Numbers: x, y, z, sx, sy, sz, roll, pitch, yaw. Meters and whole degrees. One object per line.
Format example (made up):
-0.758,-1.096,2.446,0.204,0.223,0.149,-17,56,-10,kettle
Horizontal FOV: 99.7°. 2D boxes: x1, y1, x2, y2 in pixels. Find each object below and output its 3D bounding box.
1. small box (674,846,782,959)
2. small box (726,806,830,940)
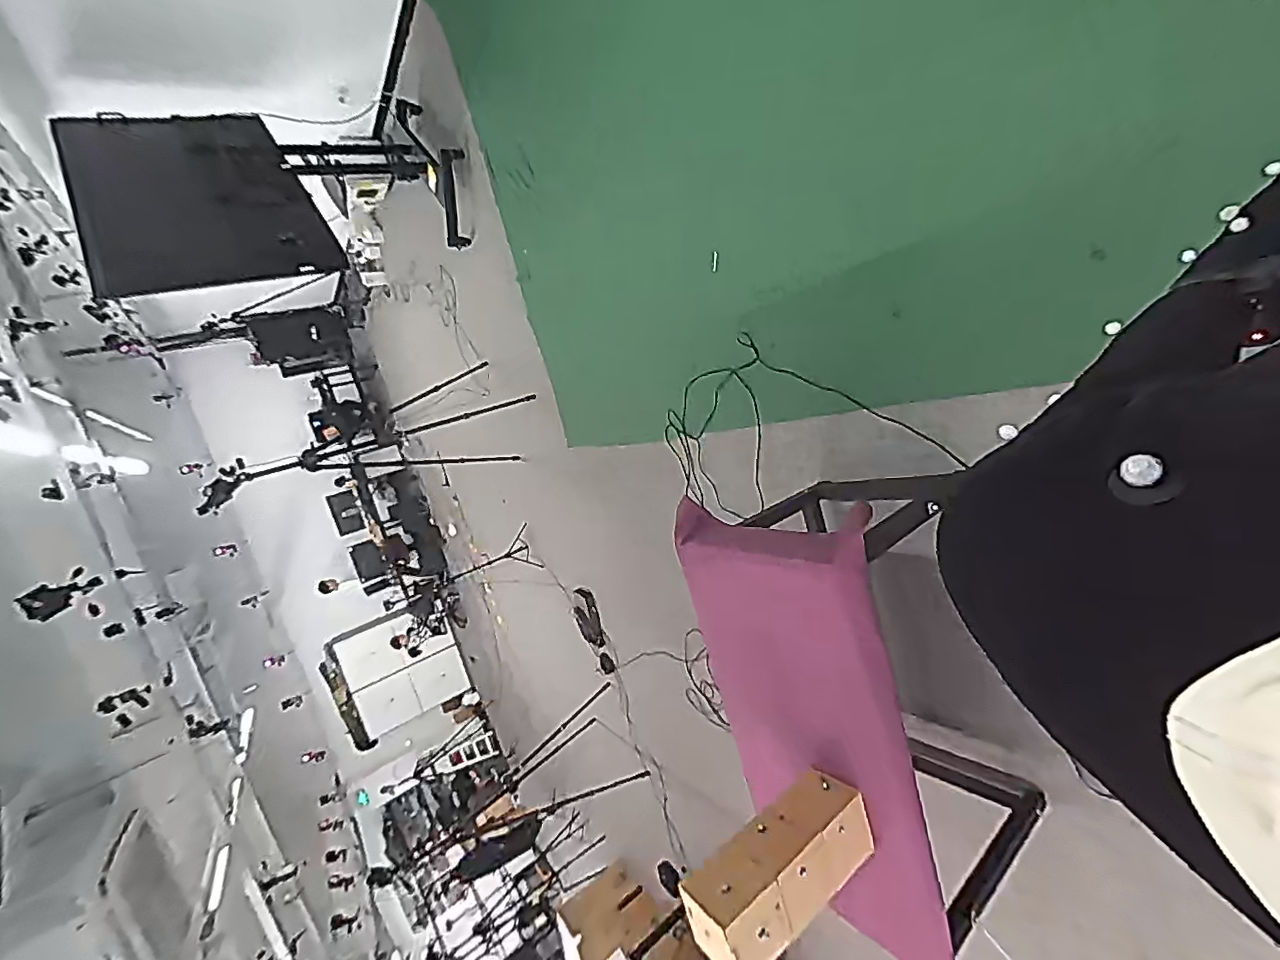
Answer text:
0.213,1.016,1.272,0.179,0.176,0.168,-6,102,57,small box
0.346,0.967,1.352,0.168,0.176,0.179,-4,104,57,small box
